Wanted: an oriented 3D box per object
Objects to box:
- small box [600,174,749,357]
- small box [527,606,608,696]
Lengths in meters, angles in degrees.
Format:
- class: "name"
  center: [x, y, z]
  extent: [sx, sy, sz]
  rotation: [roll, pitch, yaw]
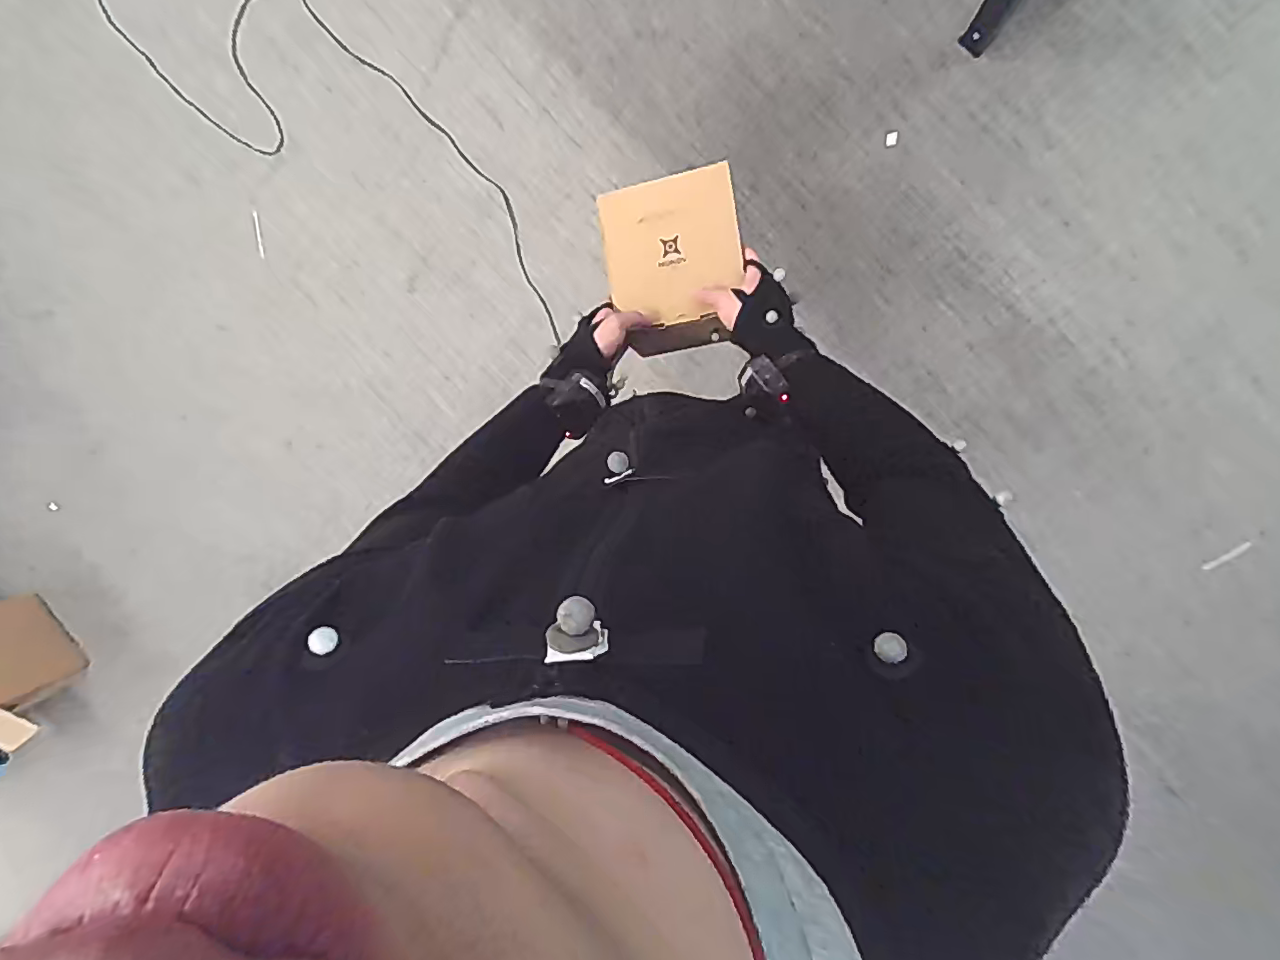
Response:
- class: "small box"
  center: [0.056, -0.276, 0.745]
  extent: [0.168, 0.176, 0.179]
  rotation: [-10, 90, 10]
- class: "small box"
  center: [-0.221, 0.535, 1.713]
  extent: [0.168, 0.176, 0.179]
  rotation: [44, 109, 0]
